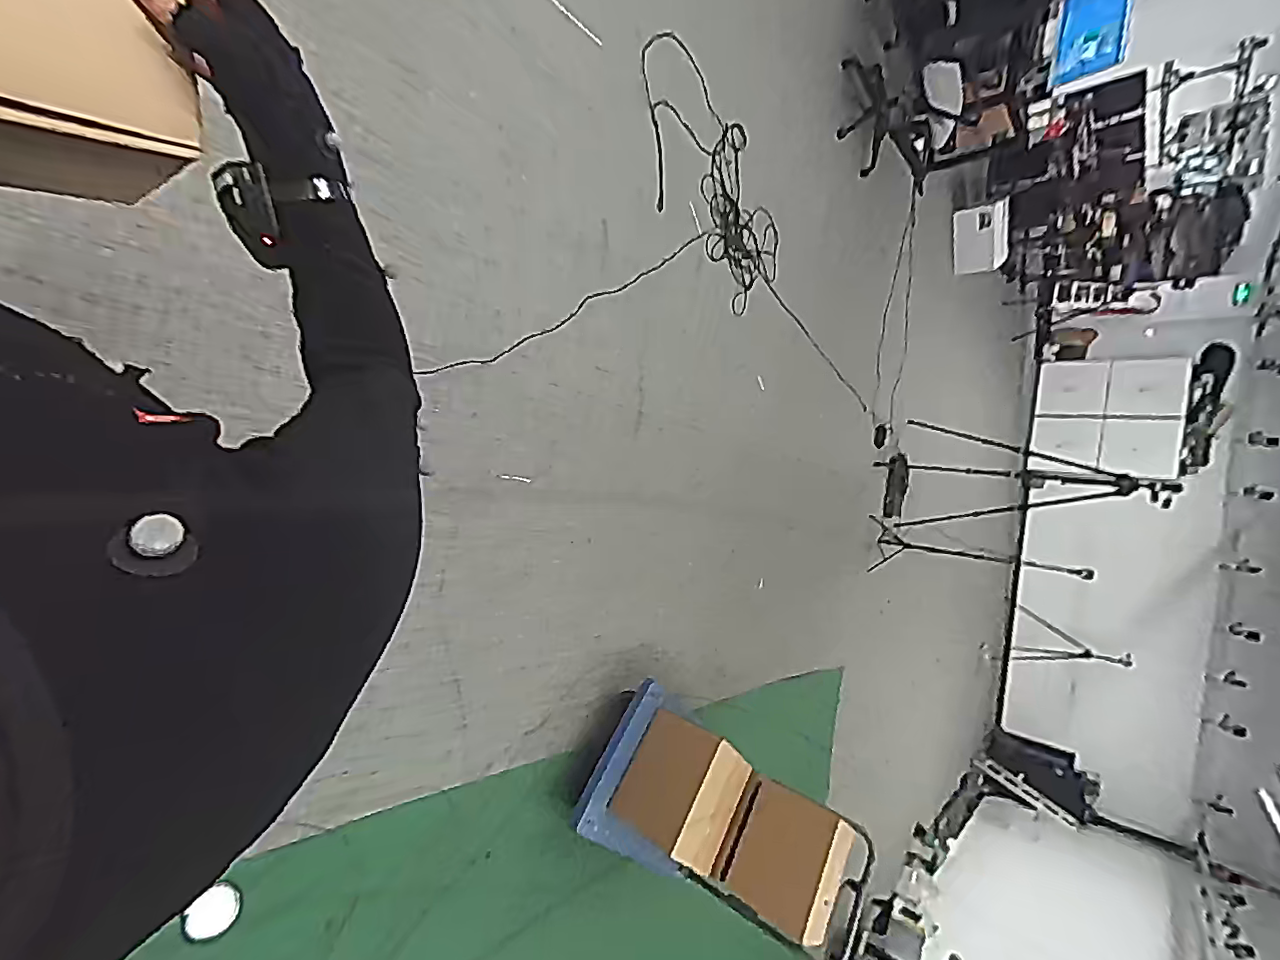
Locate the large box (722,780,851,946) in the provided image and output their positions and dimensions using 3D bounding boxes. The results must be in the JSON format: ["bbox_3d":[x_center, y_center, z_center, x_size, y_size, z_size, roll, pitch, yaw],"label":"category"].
[{"bbox_3d":[0.562,1.427,2.038,0.408,0.320,0.320,-59,137,-24],"label":"large box"}]
